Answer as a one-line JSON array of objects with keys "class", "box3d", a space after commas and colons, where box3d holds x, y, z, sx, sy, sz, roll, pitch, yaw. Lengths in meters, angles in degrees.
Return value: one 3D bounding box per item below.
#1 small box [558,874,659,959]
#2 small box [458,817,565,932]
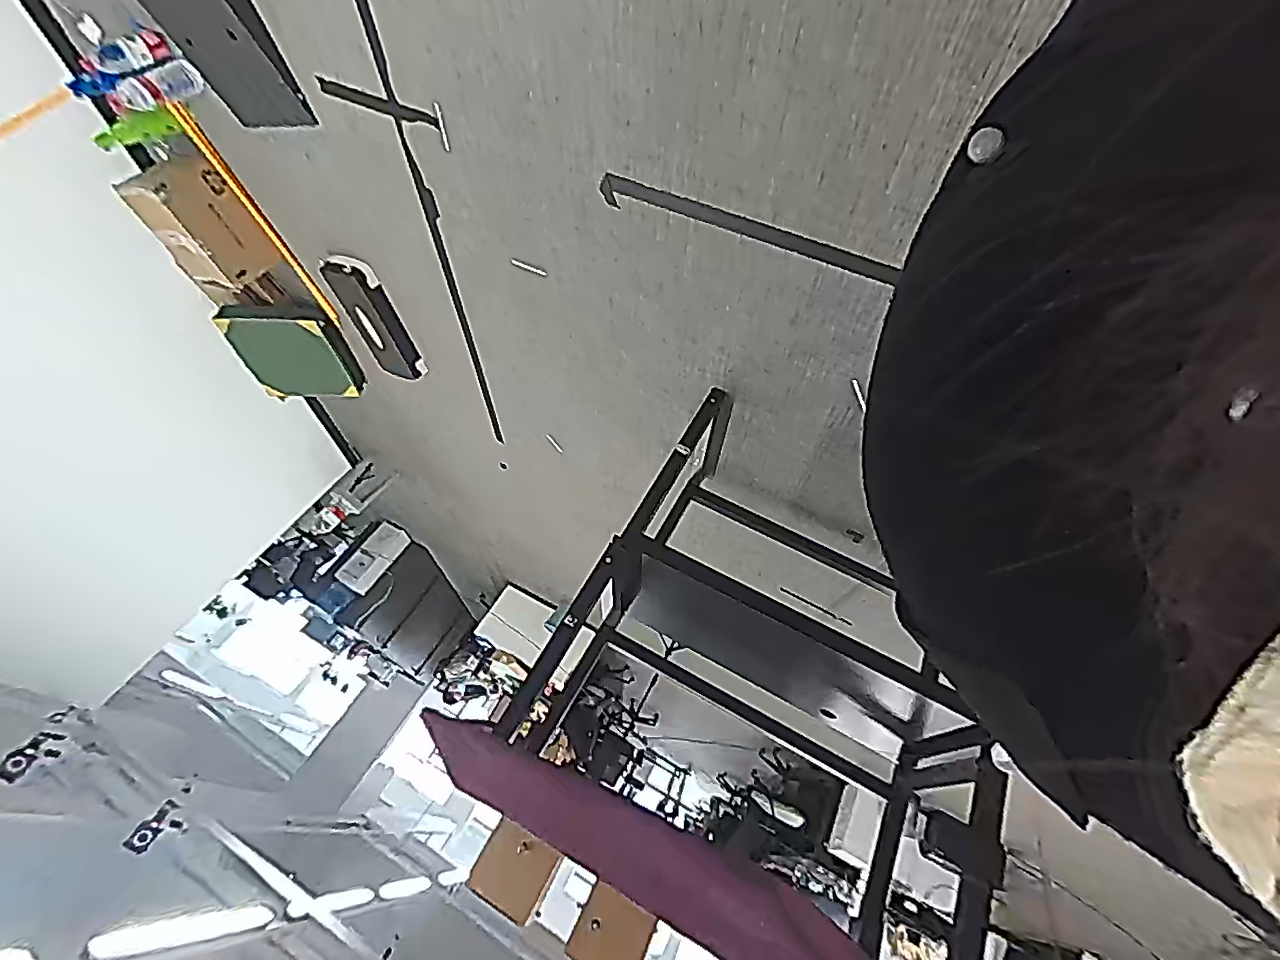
[{"class": "small box", "box3d": [-0.075, 1.085, 1.298, 0.179, 0.176, 0.168, 25, 150, 13]}, {"class": "small box", "box3d": [-0.308, 0.955, 1.329, 0.179, 0.176, 0.168, 25, 150, 15]}]
